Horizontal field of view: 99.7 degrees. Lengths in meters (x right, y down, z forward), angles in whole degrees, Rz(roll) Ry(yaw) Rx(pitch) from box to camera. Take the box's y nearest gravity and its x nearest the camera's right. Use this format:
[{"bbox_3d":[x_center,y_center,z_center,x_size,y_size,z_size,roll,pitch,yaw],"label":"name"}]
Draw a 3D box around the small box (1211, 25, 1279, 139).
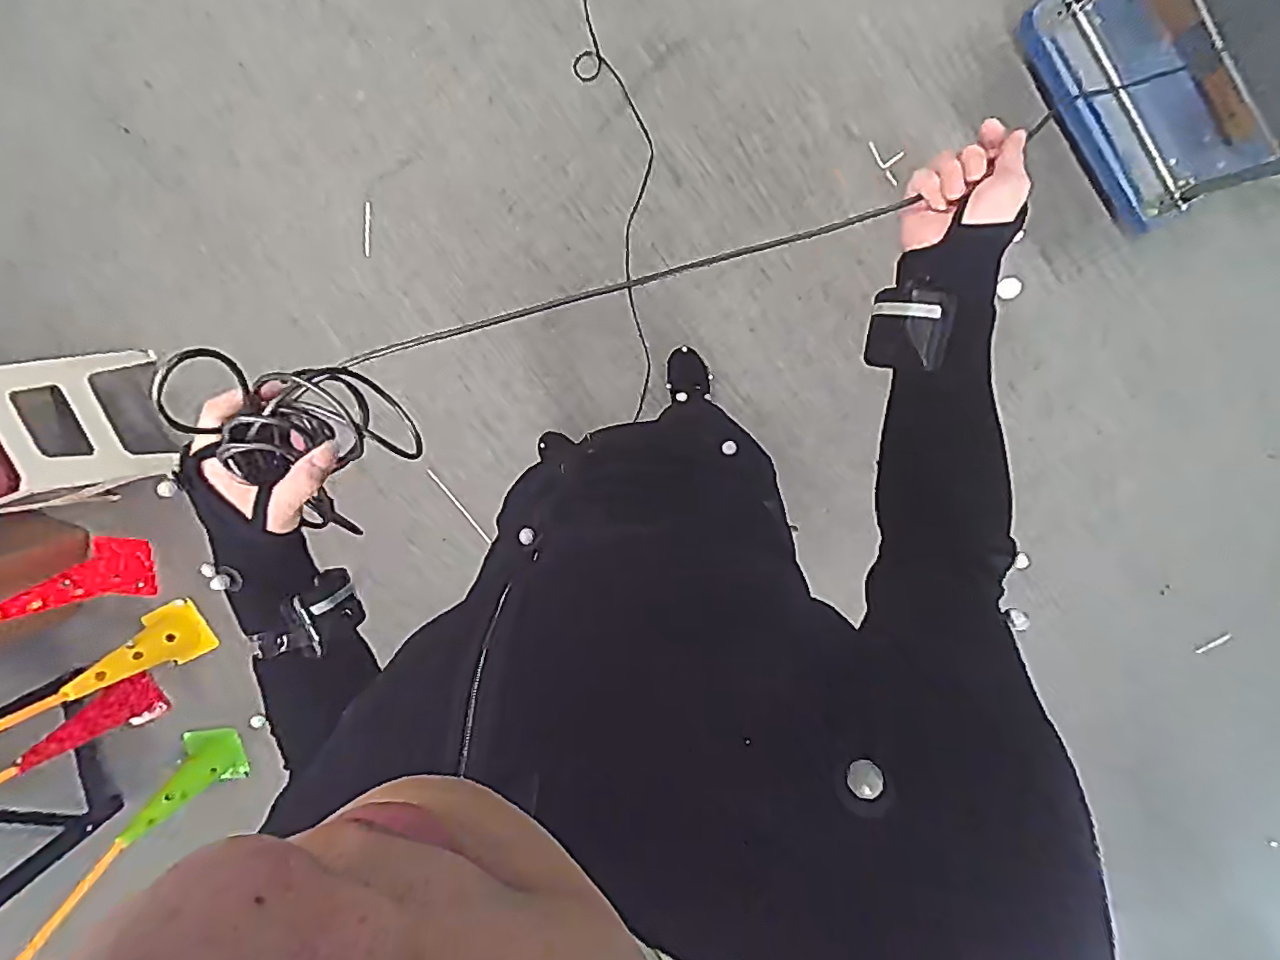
[{"bbox_3d":[1.332,-0.836,1.081,0.179,0.176,0.168,-35,99,11],"label":"small box"}]
